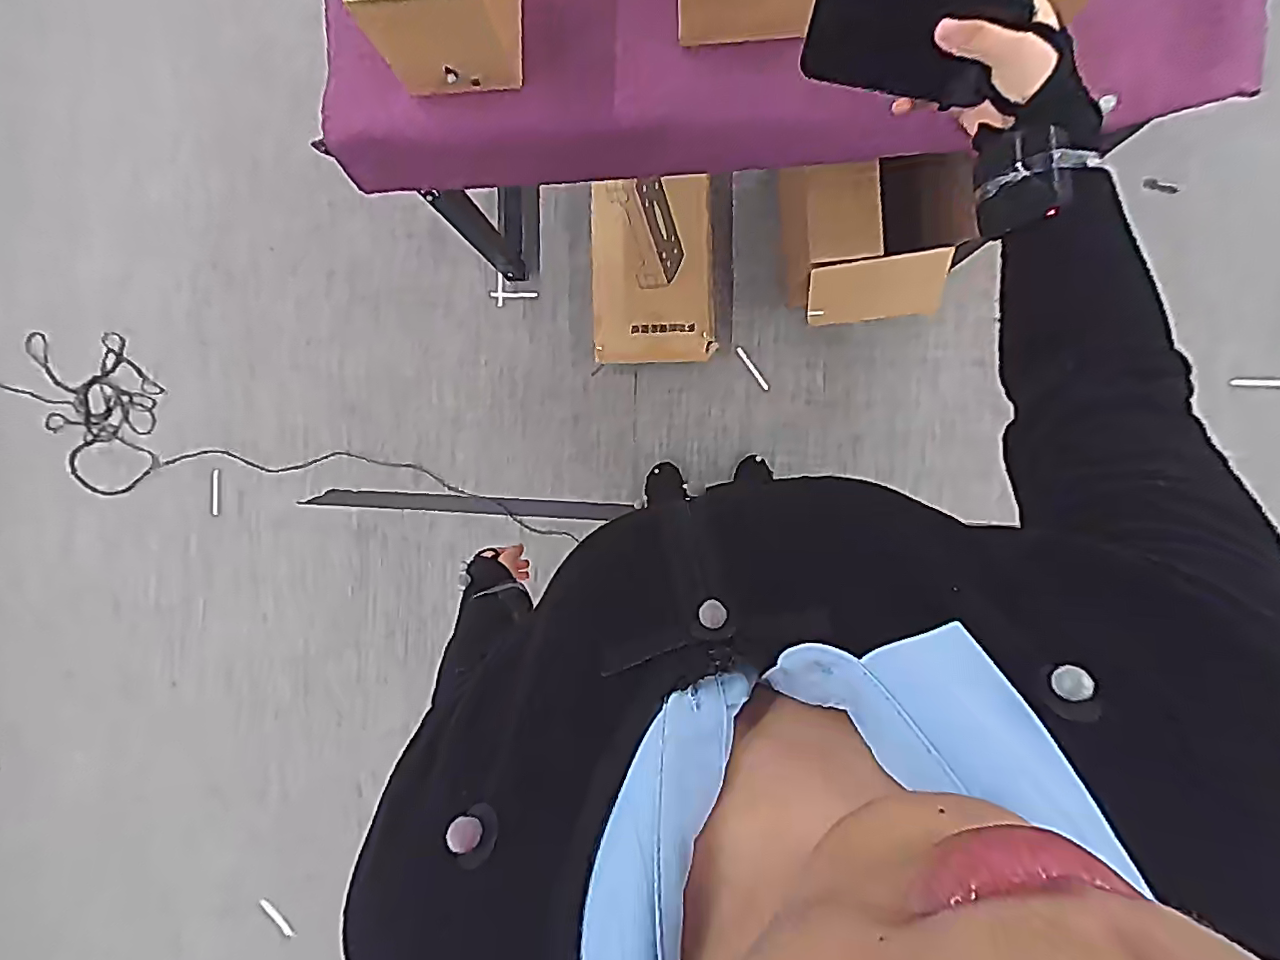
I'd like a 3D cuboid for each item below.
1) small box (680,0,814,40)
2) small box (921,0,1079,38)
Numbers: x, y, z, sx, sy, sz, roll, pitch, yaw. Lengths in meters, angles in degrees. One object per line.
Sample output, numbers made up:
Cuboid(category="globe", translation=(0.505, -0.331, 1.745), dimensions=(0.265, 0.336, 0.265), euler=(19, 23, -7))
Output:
Cuboid(category="small box", translation=(0.136, -0.681, 0.653), dimensions=(0.179, 0.176, 0.168), euler=(0, 90, 5))
Cuboid(category="small box", translation=(0.453, -0.659, 0.627), dimensions=(0.179, 0.176, 0.168), euler=(7, 93, 5))
